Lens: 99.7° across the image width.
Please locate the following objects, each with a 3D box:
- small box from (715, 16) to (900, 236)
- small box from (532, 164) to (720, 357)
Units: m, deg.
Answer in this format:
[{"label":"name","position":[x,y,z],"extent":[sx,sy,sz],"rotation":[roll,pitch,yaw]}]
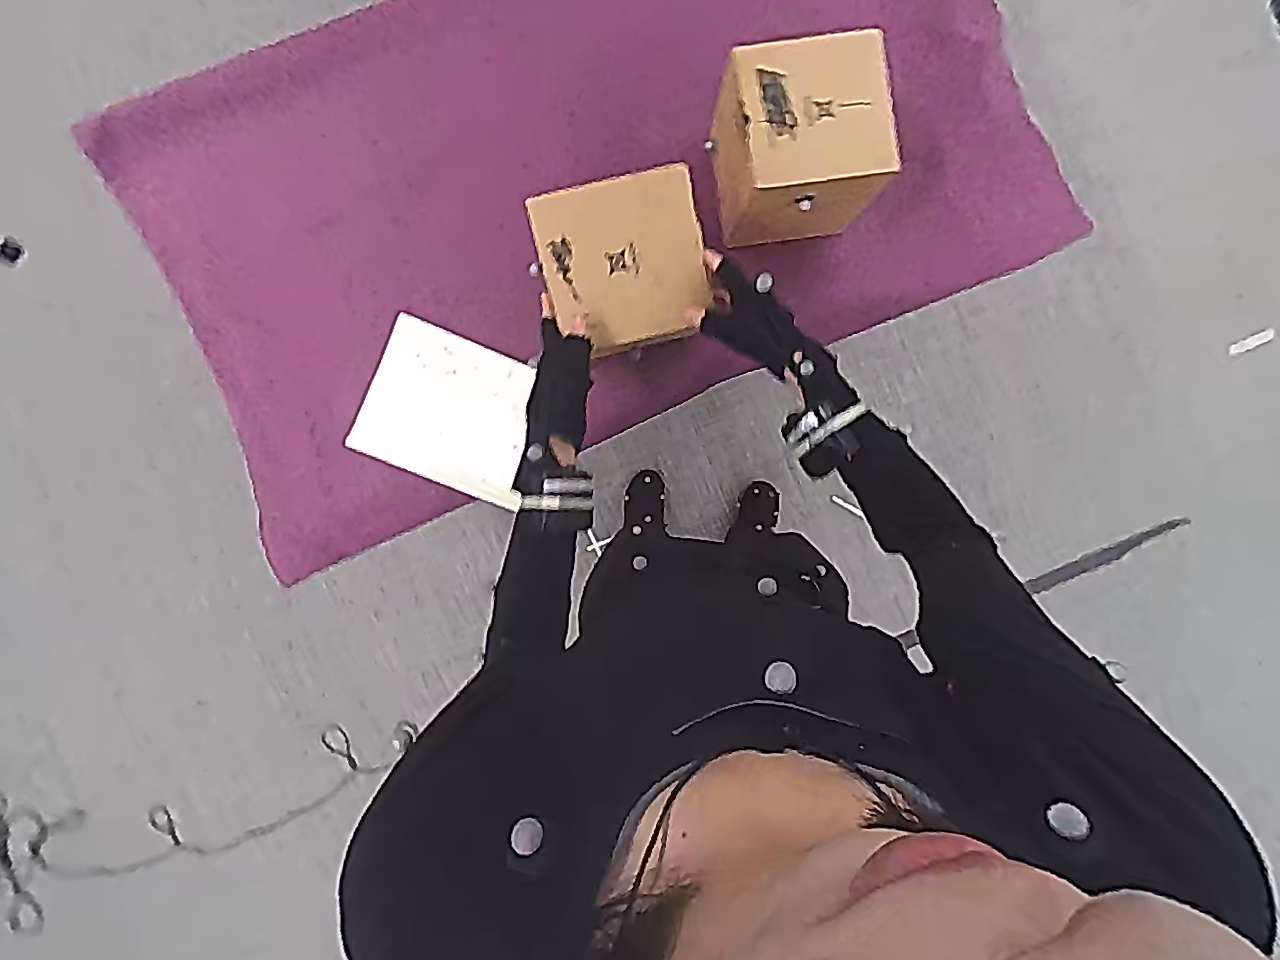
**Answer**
[{"label":"small box","position":[0.197,-0.434,0.692],"extent":[0.179,0.176,0.168],"rotation":[-9,91,-2]},{"label":"small box","position":[-0.022,-0.245,0.642],"extent":[0.179,0.176,0.168],"rotation":[-13,101,-5]}]
